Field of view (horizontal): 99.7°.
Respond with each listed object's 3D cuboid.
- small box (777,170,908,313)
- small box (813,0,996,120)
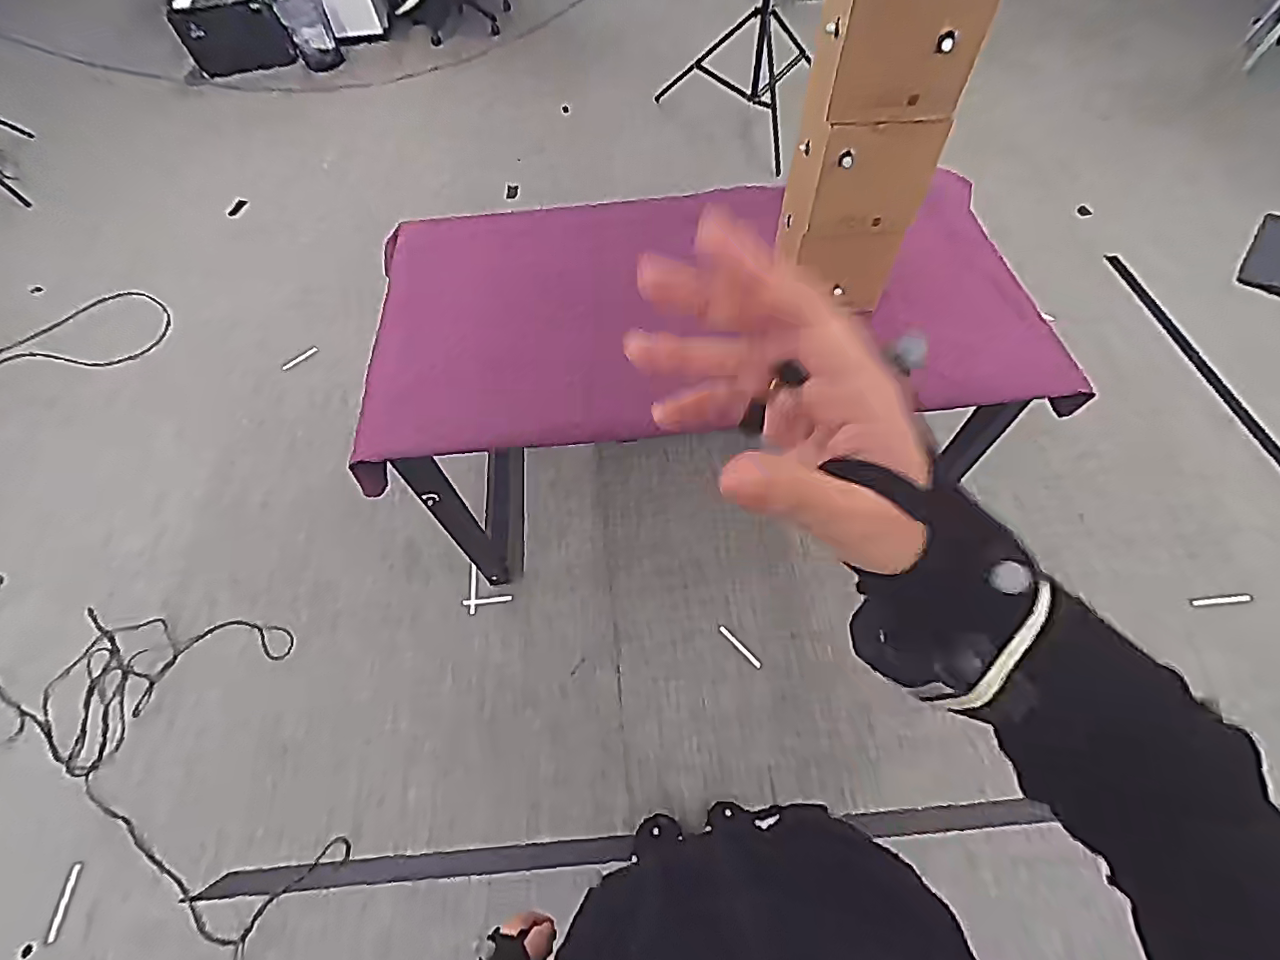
[{"bbox_3d":[0.348,-0.423,0.968,0.168,0.176,0.179,-1,60,3],"label":"small box"},{"bbox_3d":[0.327,-0.583,0.684,0.168,0.176,0.179,1,58,3],"label":"small box"}]
